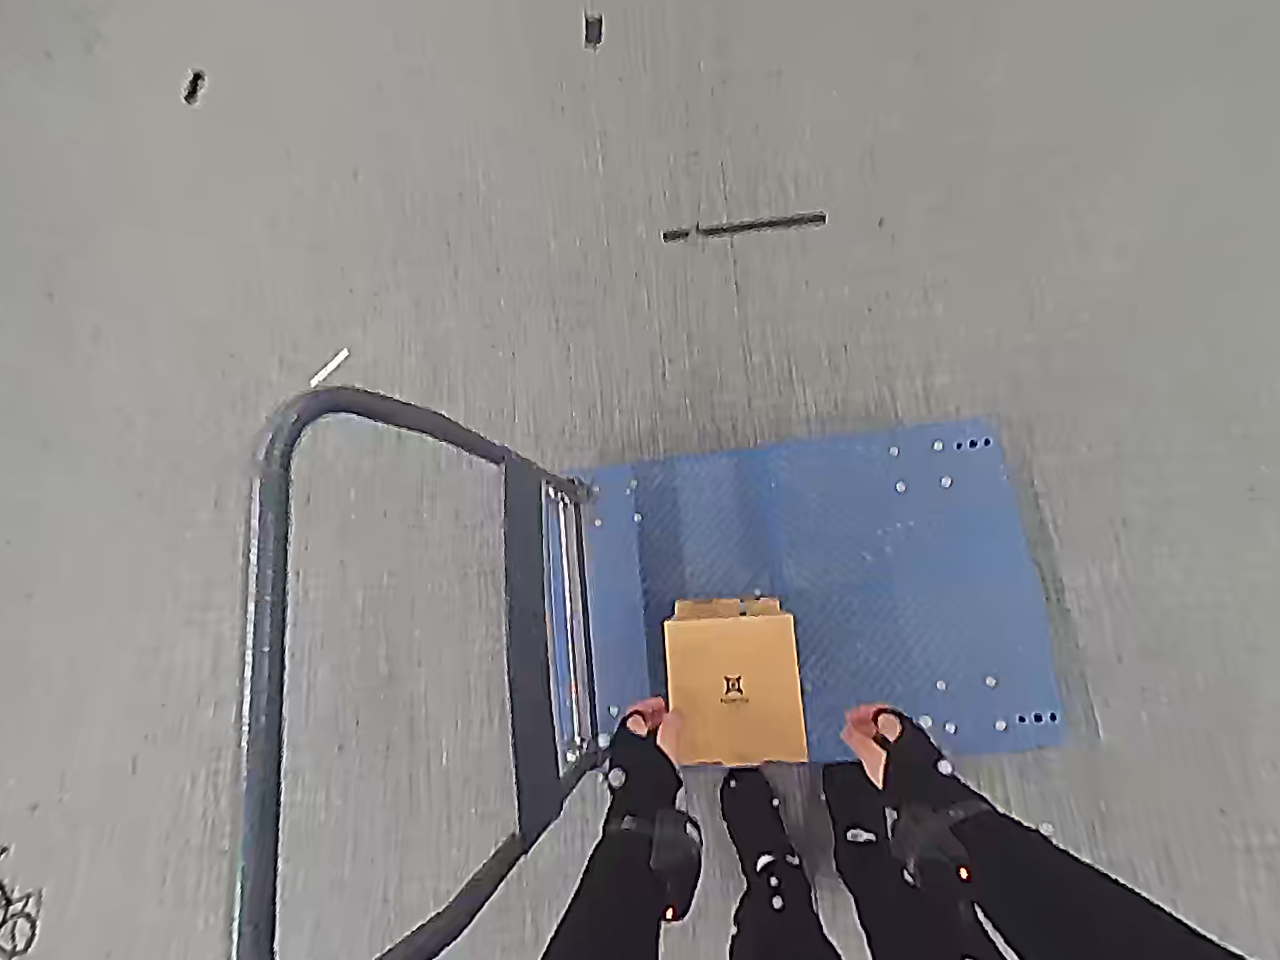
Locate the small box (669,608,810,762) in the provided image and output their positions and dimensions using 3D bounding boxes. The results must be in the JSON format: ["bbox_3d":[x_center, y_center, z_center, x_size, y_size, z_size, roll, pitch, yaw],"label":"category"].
[{"bbox_3d":[0.130,0.272,0.751,0.168,0.176,0.179,-5,79,7],"label":"small box"}]
